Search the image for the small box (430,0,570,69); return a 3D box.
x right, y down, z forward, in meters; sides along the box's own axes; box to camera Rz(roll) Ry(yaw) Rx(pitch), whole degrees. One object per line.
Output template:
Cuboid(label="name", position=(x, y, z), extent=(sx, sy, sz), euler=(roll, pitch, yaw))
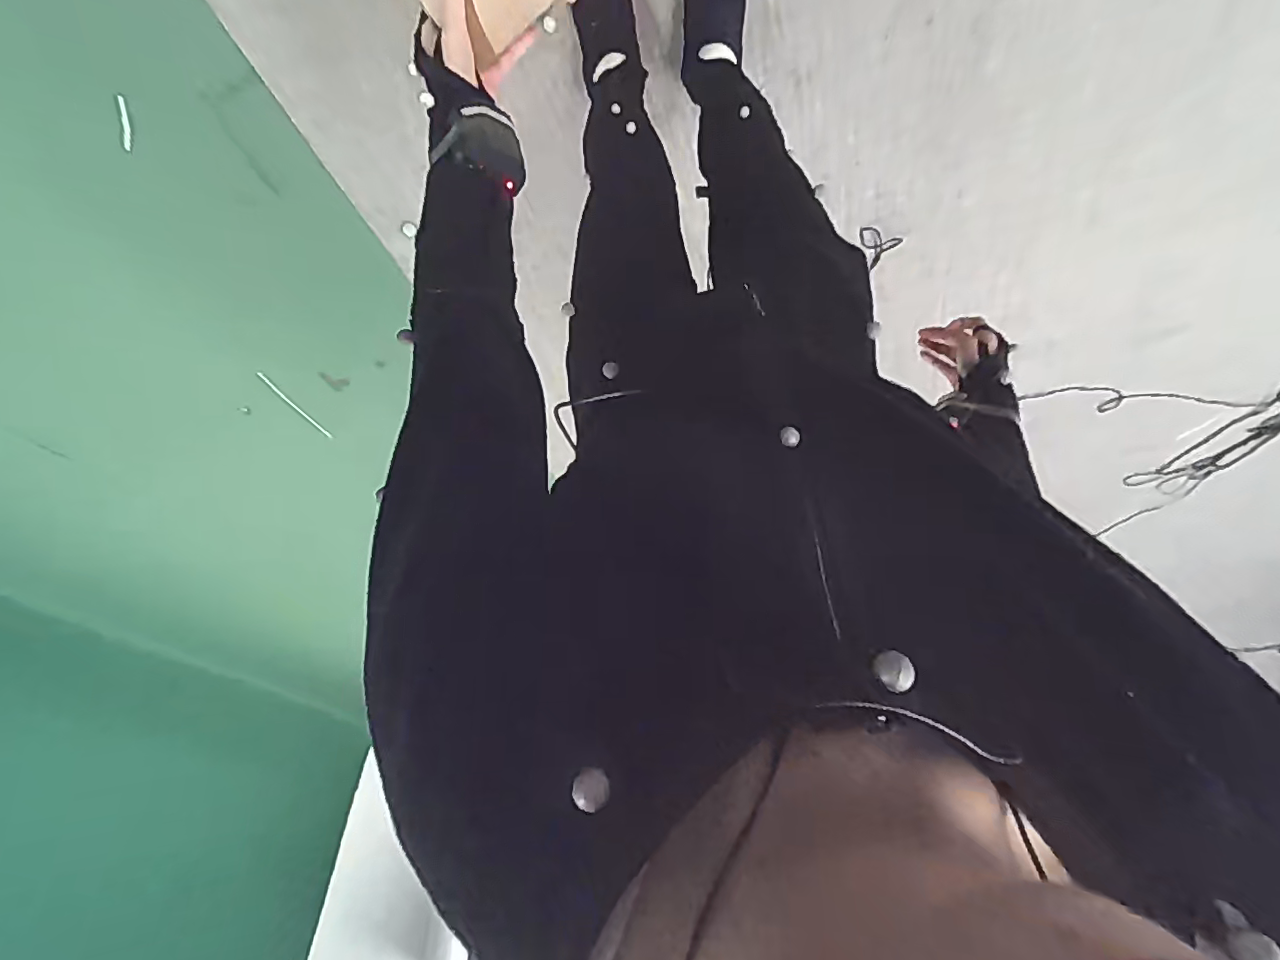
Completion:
Cuboid(label="small box", position=(-0.100, -0.498, 0.444), extent=(0.179, 0.176, 0.168), euler=(-8, 137, 38))
